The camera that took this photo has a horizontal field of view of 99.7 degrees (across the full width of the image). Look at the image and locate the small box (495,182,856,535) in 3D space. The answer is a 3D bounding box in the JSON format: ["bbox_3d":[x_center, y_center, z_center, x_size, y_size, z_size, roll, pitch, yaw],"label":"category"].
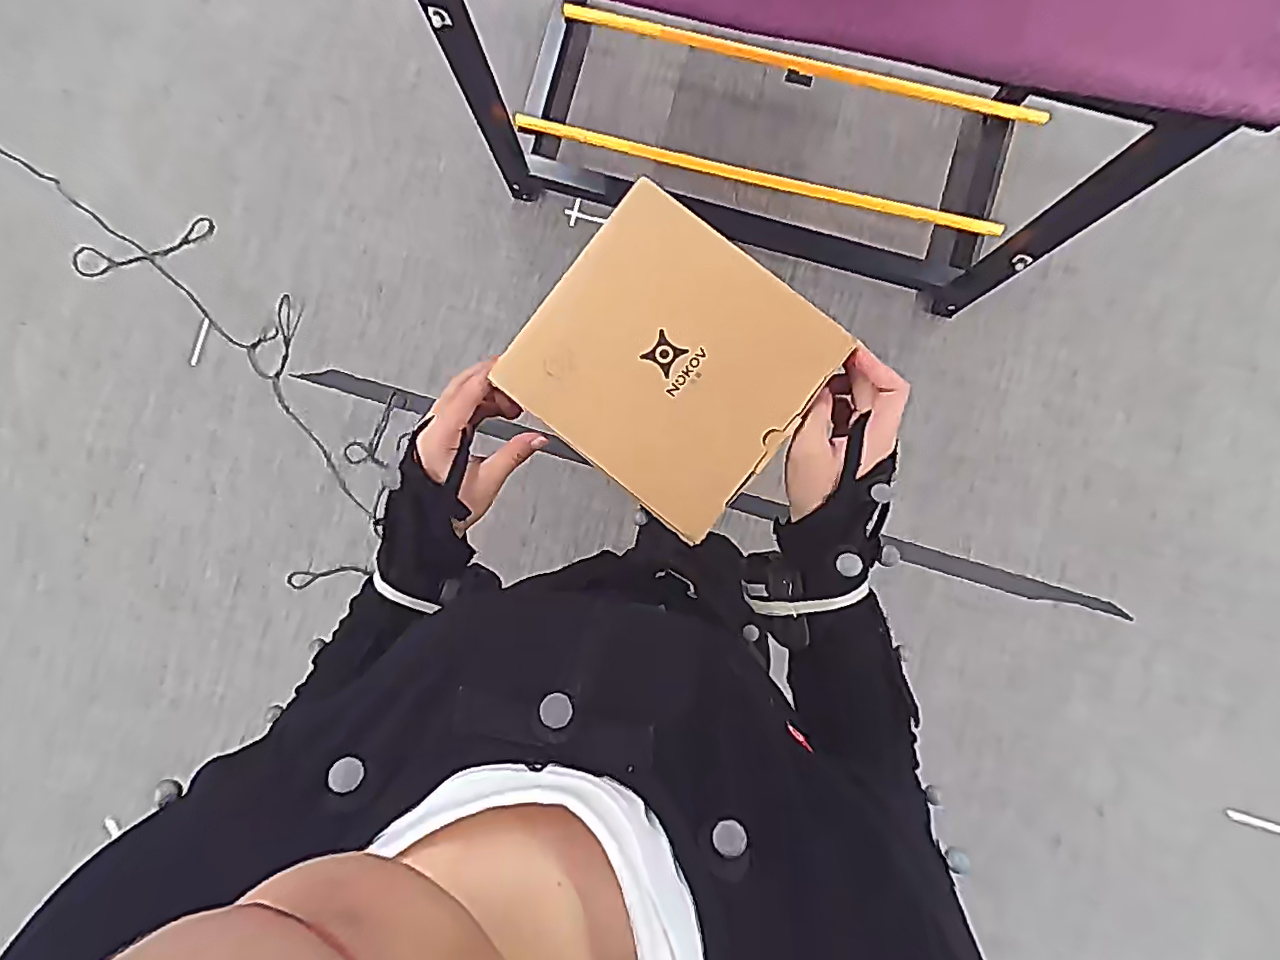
[{"bbox_3d":[0.023,-0.076,0.425,0.179,0.176,0.168,38,91,1],"label":"small box"}]
